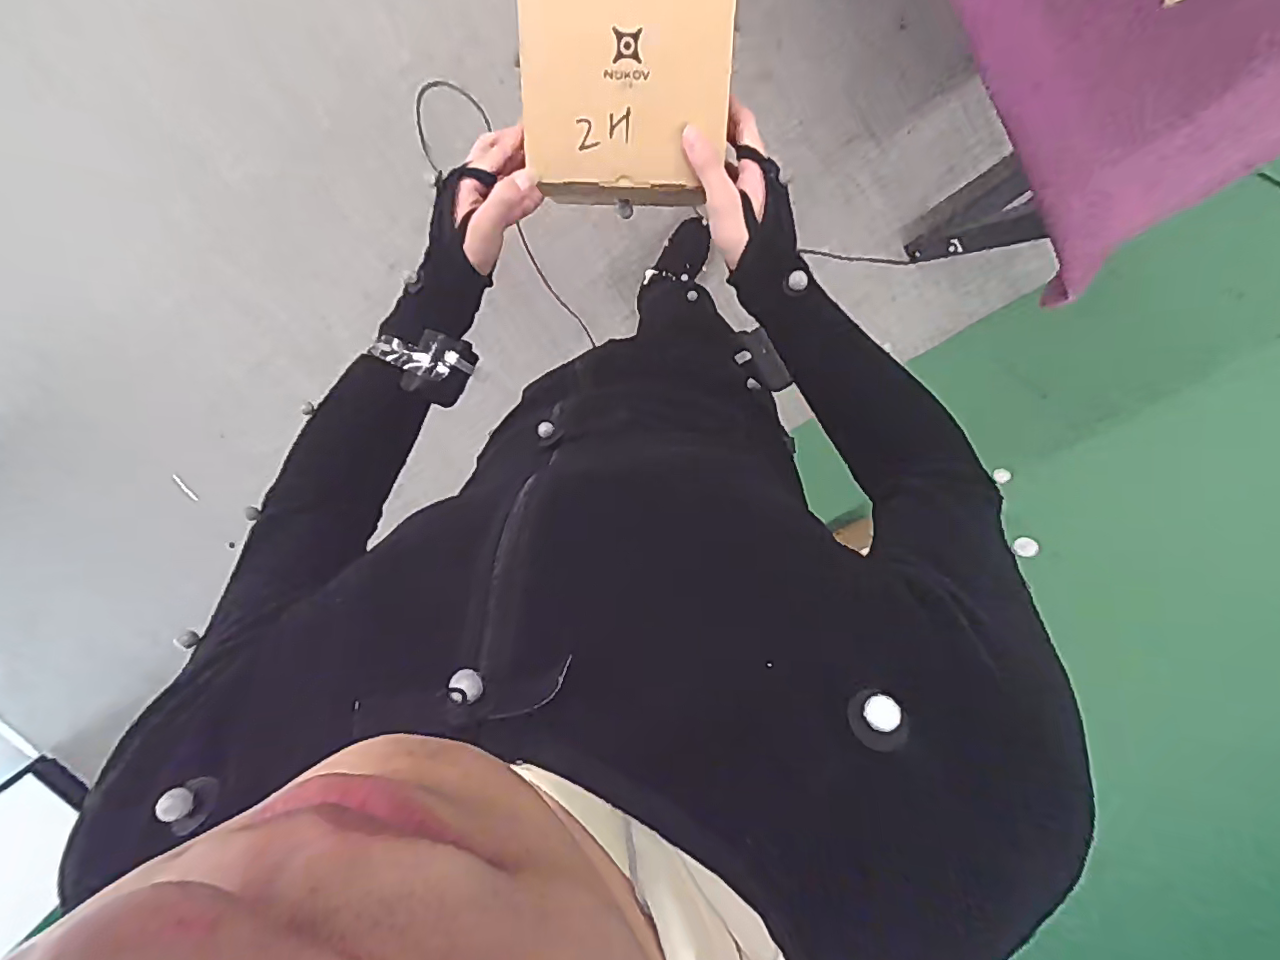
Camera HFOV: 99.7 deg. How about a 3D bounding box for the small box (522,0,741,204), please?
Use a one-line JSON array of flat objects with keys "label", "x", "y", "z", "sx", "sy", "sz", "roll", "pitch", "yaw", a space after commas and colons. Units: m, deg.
[{"label": "small box", "x": -0.009, "y": -0.358, "z": 0.486, "sx": 0.168, "sy": 0.176, "sz": 0.179, "roll": 2, "pitch": 112, "yaw": -1}]
